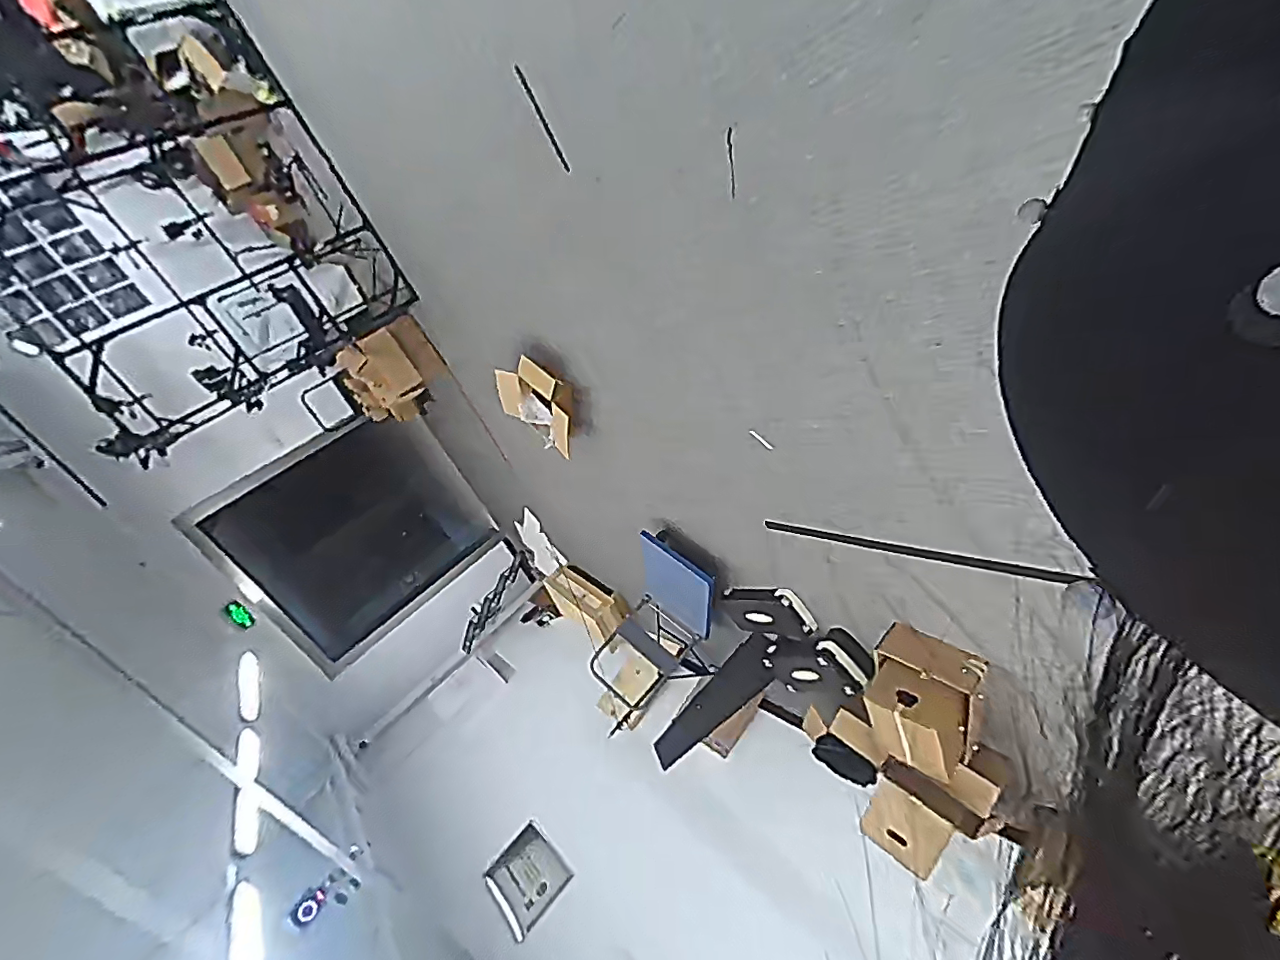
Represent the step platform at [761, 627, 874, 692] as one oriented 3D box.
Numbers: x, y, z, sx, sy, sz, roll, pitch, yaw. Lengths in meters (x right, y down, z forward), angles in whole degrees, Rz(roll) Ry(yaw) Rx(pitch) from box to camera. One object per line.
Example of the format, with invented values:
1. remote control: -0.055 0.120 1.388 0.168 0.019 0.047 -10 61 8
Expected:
1. step platform: 0.970 1.020 3.044 0.286 0.204 0.684 48 153 3
